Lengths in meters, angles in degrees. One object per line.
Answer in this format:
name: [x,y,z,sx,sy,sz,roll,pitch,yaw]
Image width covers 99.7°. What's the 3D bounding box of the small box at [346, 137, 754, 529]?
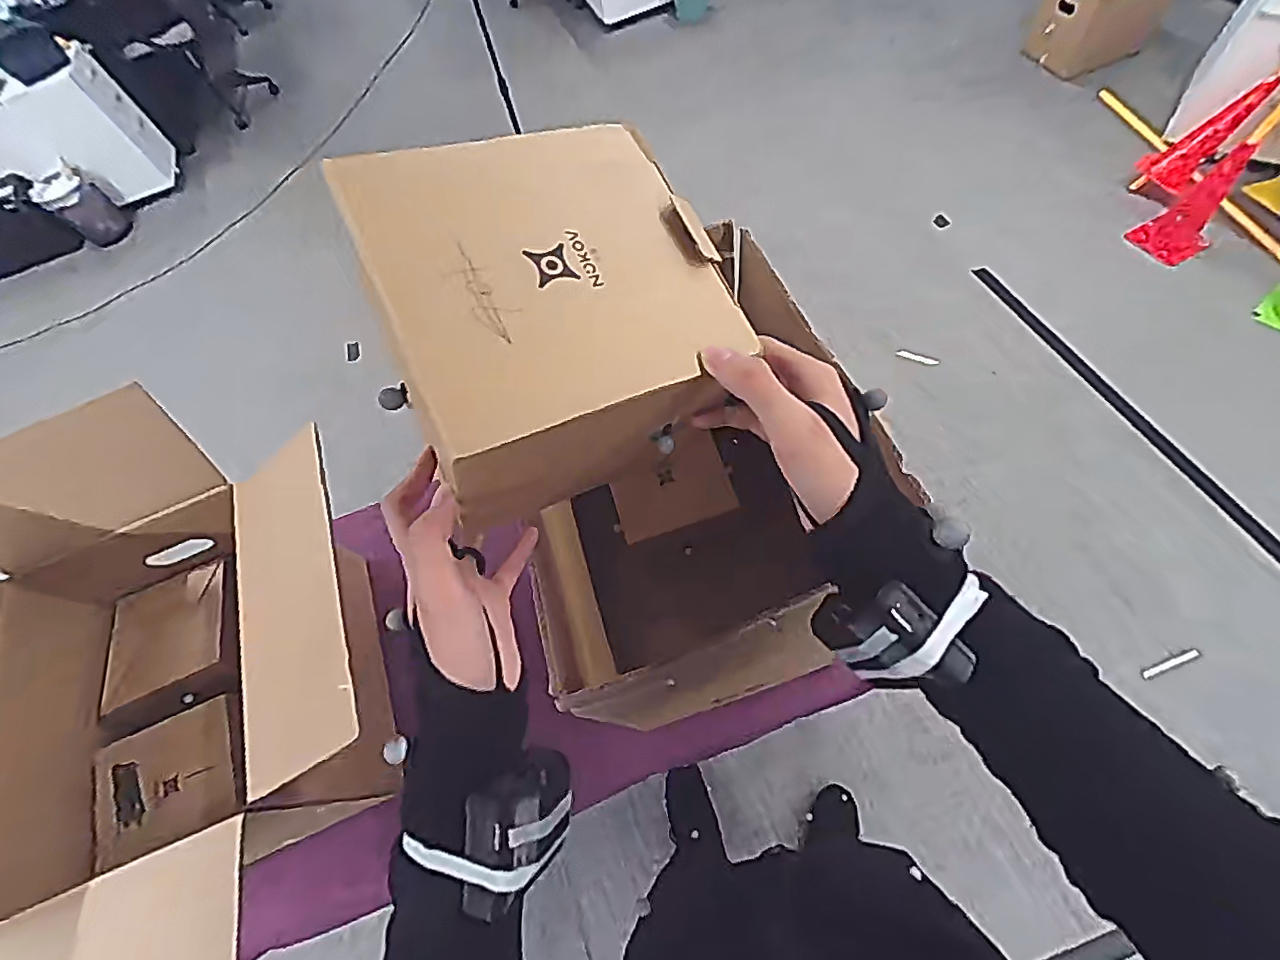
small box: [-0.063,-0.086,0.363,0.179,0.176,0.168,-23,78,-21]
